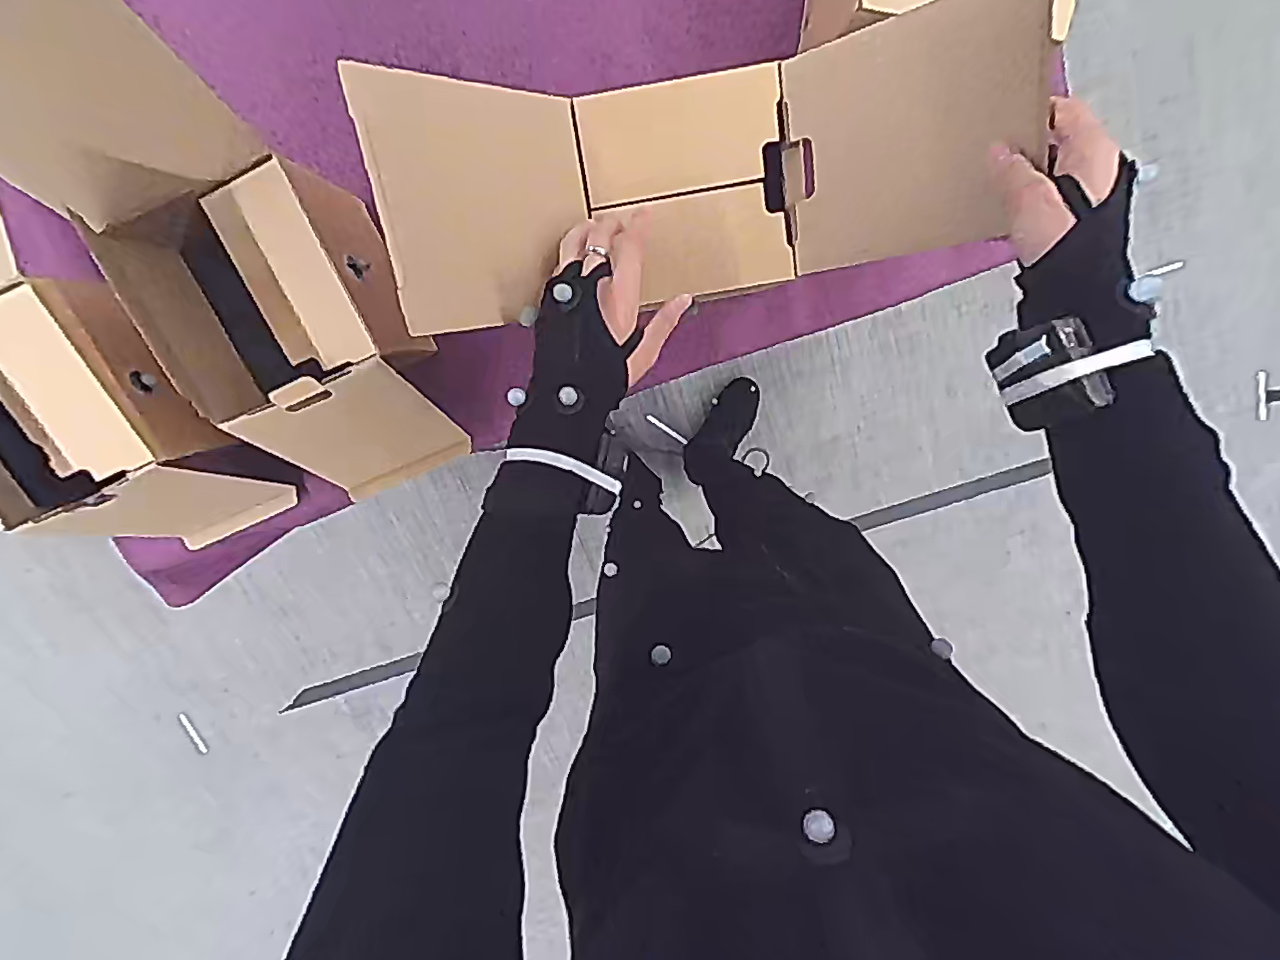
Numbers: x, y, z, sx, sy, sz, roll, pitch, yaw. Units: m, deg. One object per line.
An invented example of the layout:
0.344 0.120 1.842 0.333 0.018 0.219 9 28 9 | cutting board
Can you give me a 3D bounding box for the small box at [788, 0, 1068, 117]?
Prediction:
0.253 -0.452 0.482 0.179 0.176 0.168 6 104 -4 | small box
